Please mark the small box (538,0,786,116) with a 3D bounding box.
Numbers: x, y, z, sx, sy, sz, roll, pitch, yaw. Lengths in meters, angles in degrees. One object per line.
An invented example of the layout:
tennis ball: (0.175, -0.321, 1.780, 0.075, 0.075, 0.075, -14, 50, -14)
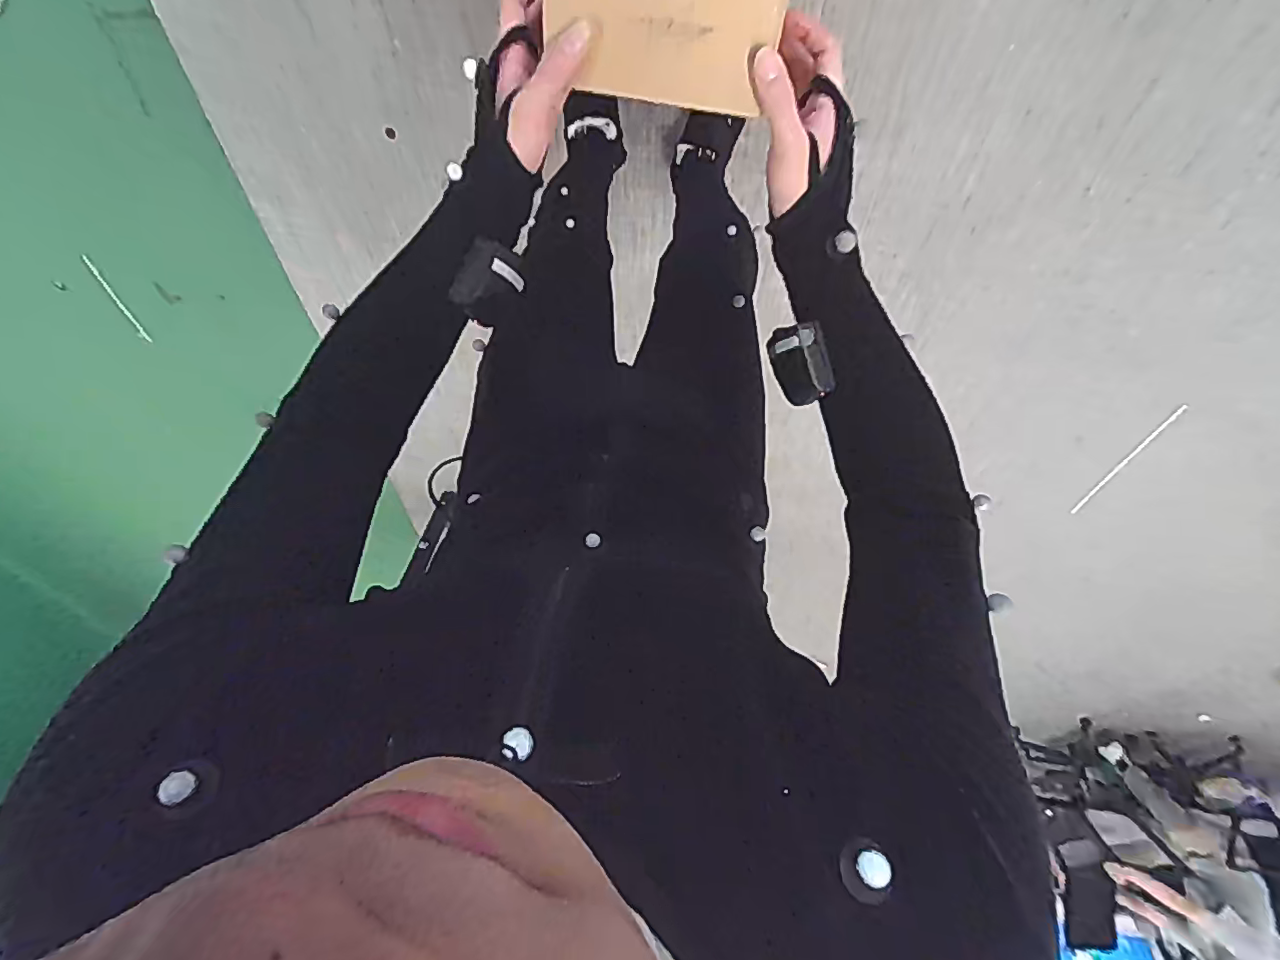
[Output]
small box: (0.028, -0.395, 0.391, 0.168, 0.176, 0.179, 11, 135, 2)
